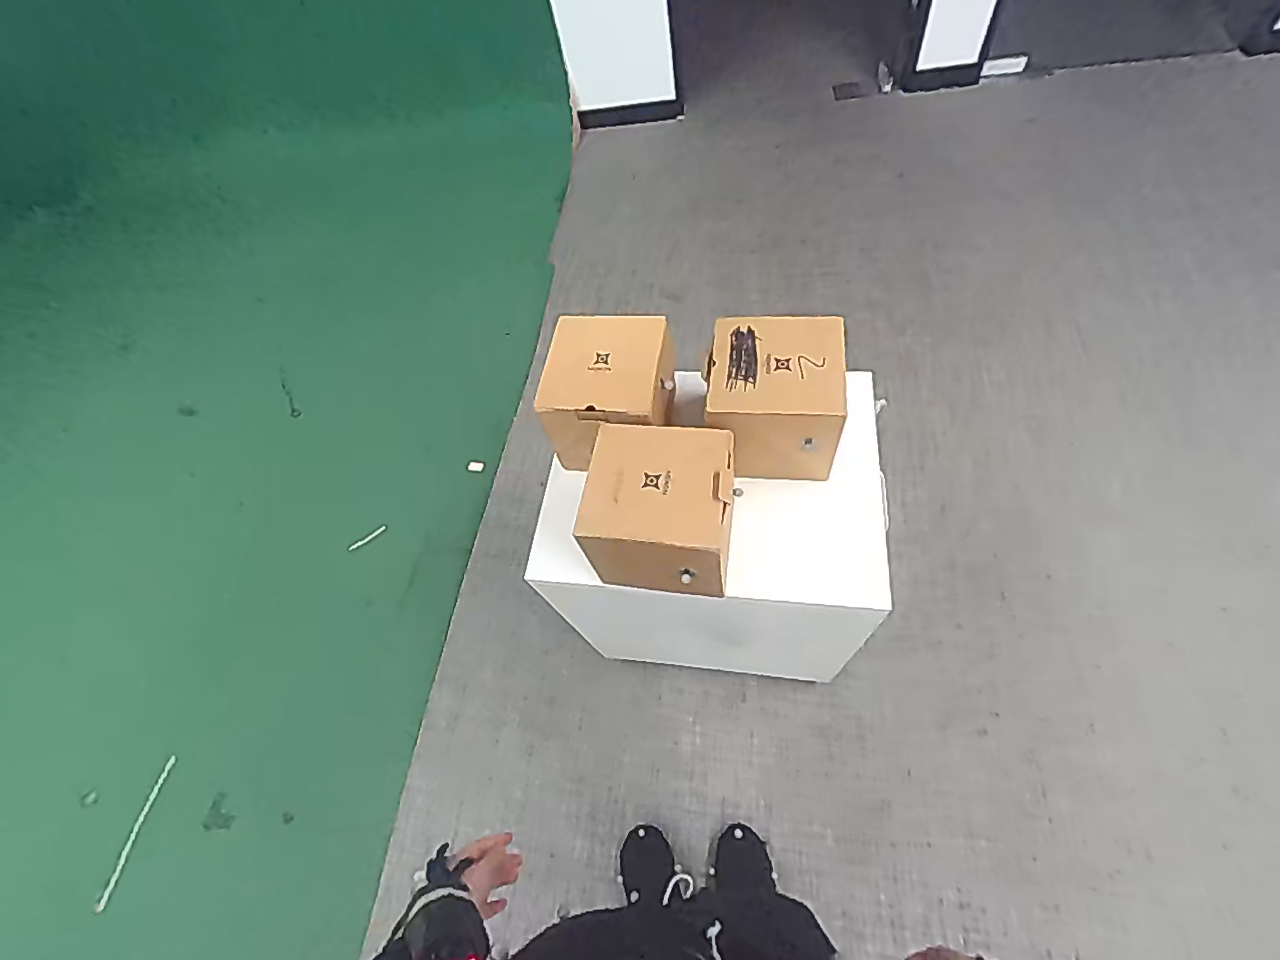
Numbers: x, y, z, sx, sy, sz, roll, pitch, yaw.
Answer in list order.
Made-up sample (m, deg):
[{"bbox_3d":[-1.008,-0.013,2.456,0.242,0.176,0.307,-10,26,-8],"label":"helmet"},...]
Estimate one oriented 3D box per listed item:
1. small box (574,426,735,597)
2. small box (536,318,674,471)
[{"bbox_3d":[0.032,0.046,0.718,0.179,0.176,0.168,3,59,13],"label":"small box"},{"bbox_3d":[-0.042,-0.125,0.831,0.168,0.176,0.179,4,62,11],"label":"small box"}]
